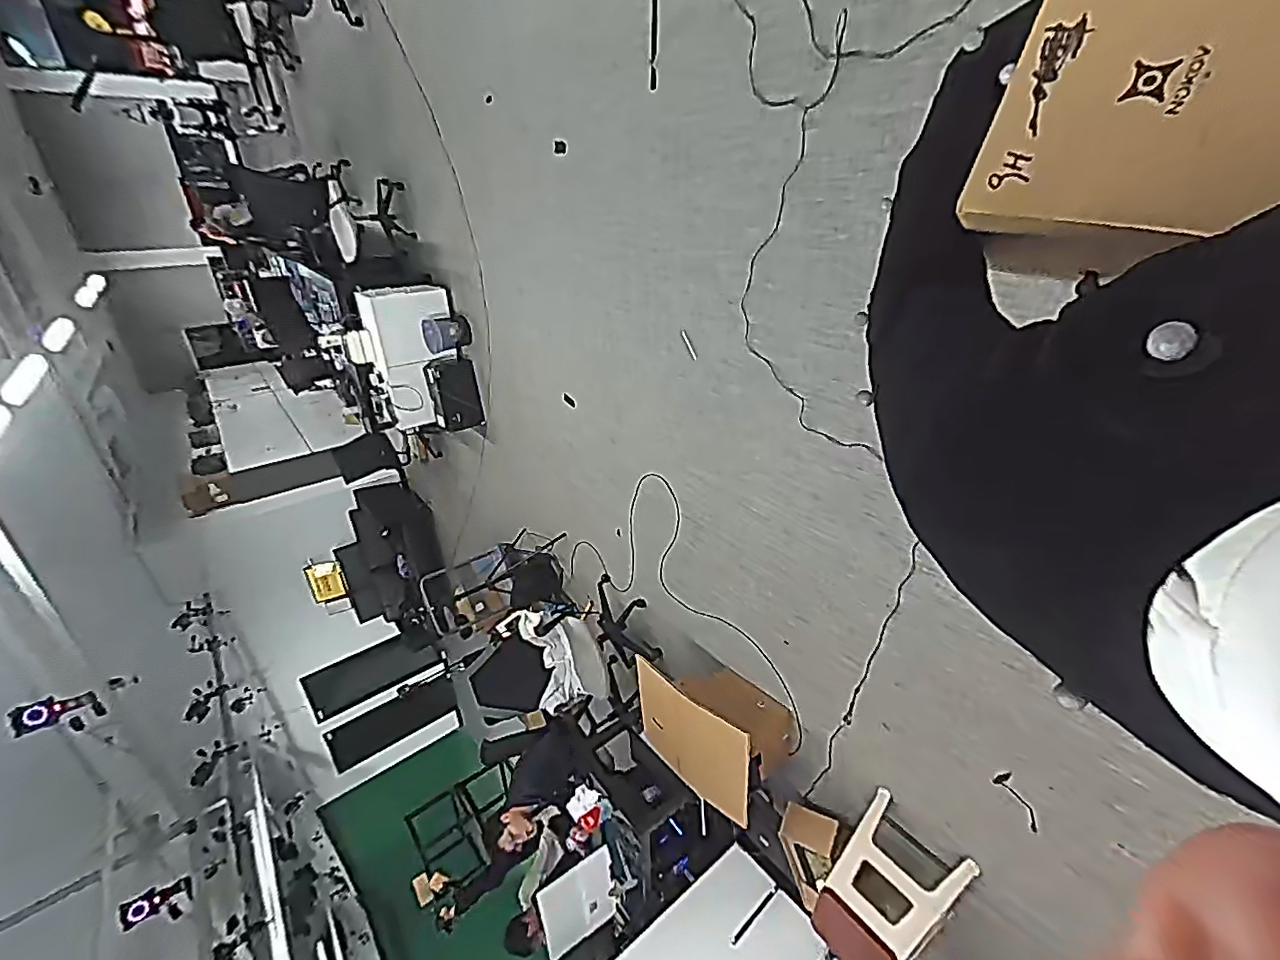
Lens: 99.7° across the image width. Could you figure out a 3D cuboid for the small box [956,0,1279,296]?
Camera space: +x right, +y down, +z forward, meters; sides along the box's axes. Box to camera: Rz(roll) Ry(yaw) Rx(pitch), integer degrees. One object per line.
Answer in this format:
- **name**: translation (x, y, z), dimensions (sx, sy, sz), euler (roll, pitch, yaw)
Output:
- **small box**: translation (0.370, -0.245, 0.393), dimensions (0.179, 0.176, 0.168), euler (29, 110, 34)
